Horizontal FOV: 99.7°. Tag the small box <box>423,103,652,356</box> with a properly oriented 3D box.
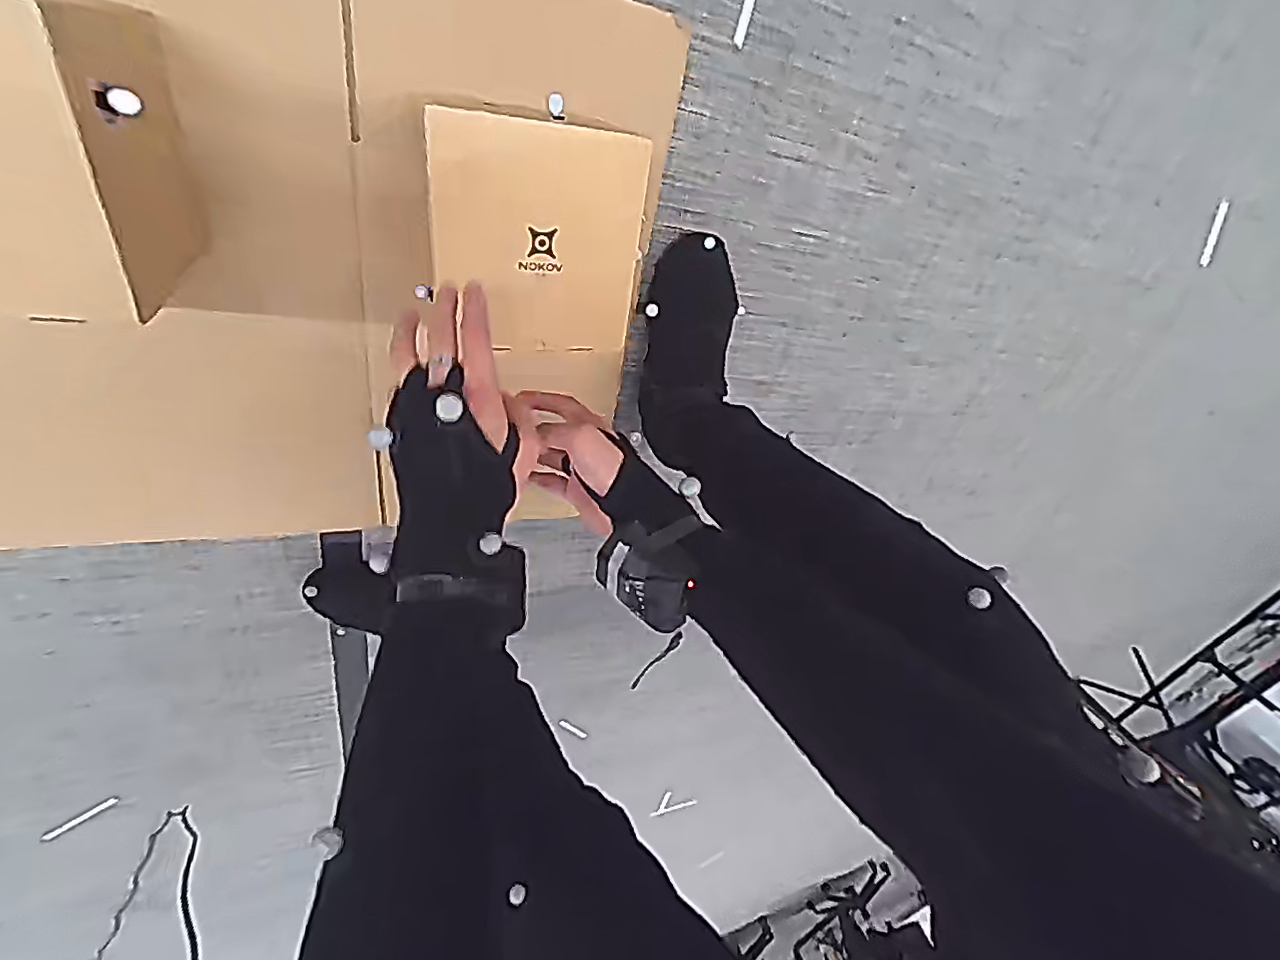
[{"bbox_3d":[-0.104,-0.229,0.497,0.168,0.176,0.179,-5,128,-20],"label":"small box"}]

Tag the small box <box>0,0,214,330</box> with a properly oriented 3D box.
[{"bbox_3d":[-0.419,-0.219,0.358,0.168,0.176,0.179,-1,127,-22],"label":"small box"}]
